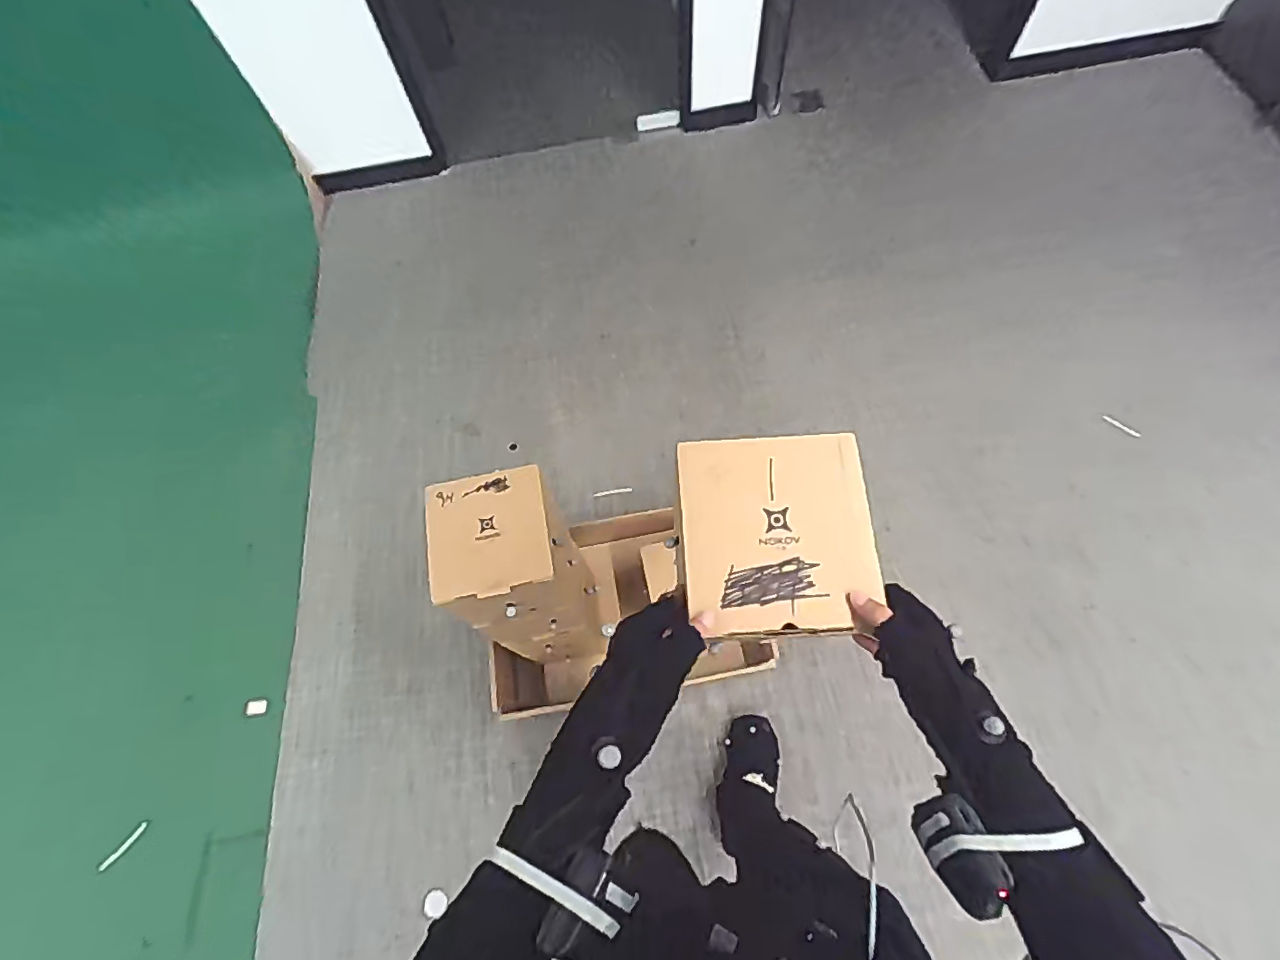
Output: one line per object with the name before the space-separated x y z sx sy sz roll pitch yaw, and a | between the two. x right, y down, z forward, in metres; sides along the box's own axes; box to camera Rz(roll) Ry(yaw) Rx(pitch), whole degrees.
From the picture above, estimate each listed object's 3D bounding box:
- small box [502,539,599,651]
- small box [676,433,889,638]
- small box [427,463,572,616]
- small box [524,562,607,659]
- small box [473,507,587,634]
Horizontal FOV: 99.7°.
small box | -0.183 0.238 1.104 0.168 0.176 0.179 -10 66 -1
small box | 0.124 0.064 0.539 0.168 0.176 0.179 1 74 0
small box | -0.202 0.098 0.809 0.168 0.176 0.179 -11 67 -3
small box | -0.173 0.306 1.252 0.168 0.176 0.179 -9 66 0
small box | -0.194 0.167 0.957 0.168 0.176 0.179 -11 66 -3
